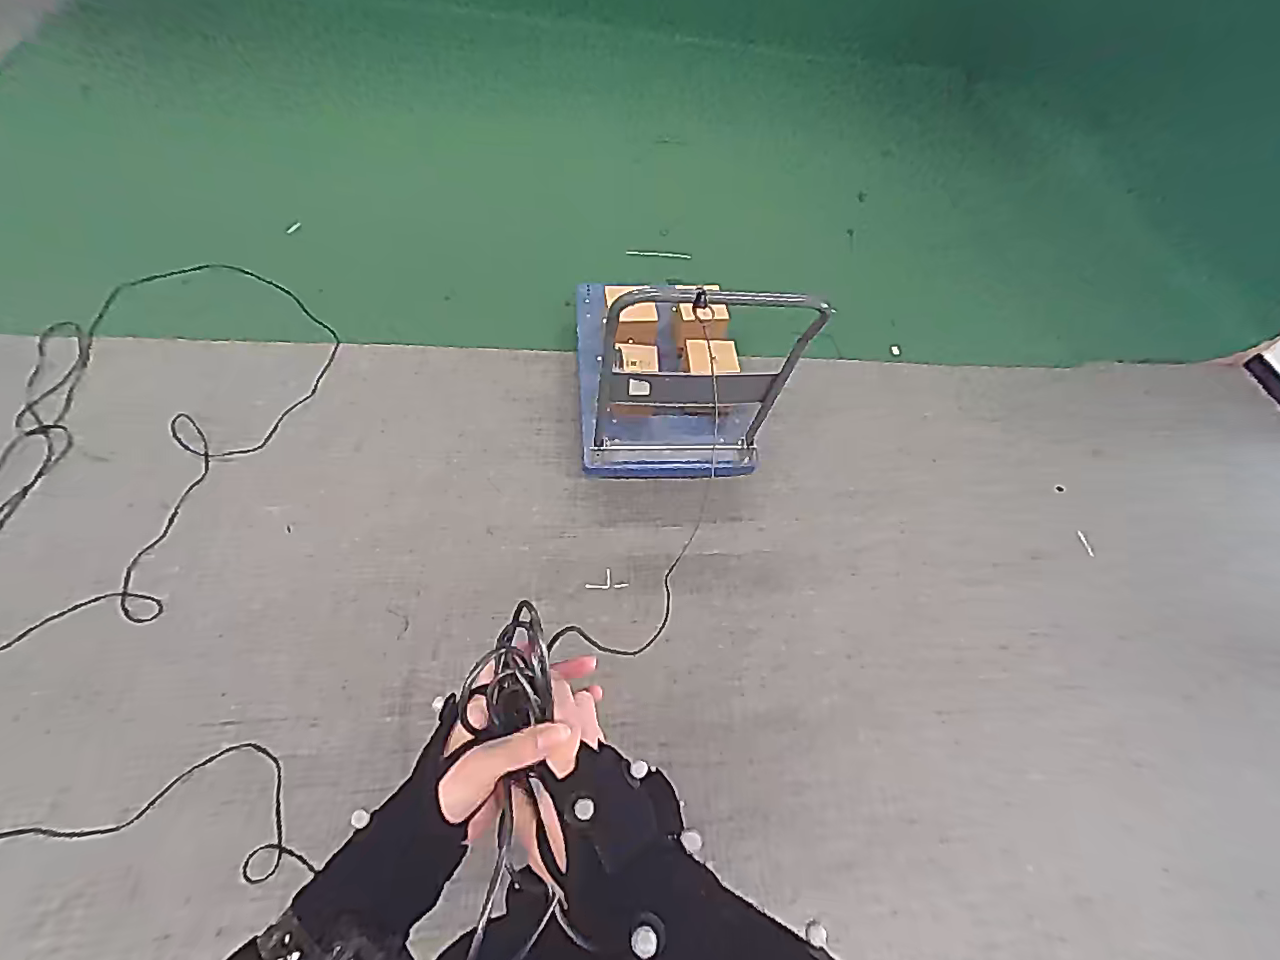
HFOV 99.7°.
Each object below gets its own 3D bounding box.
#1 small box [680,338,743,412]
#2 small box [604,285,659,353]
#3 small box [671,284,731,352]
[{"bbox_3d":[0.234,-0.352,1.822,0.168,0.176,0.179,1,60,-8],"label":"small box"},{"bbox_3d":[-0.033,-0.567,1.916,0.168,0.176,0.179,-3,59,-11],"label":"small box"},{"bbox_3d":[0.214,-0.584,1.959,0.168,0.176,0.179,-4,61,-9],"label":"small box"}]
